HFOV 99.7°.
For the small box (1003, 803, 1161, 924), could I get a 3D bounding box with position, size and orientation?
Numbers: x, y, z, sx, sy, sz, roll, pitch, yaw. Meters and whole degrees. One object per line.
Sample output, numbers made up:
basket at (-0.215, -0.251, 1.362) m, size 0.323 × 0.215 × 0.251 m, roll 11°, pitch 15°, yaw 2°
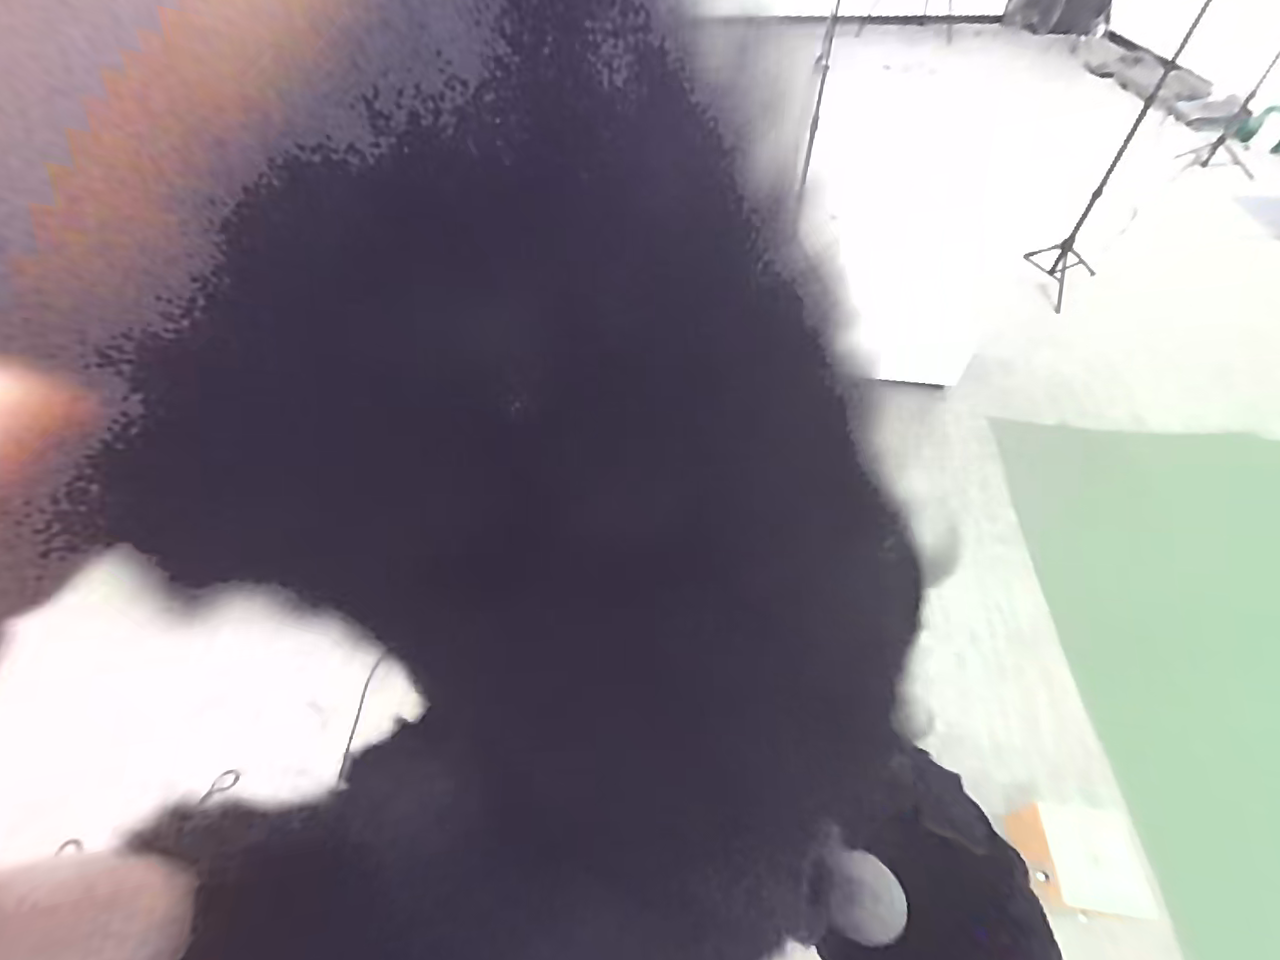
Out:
small box at (0.898, 0.796, 1.120) m, size 0.168 × 0.176 × 0.179 m, roll 6°, pitch 50°, yaw 6°
